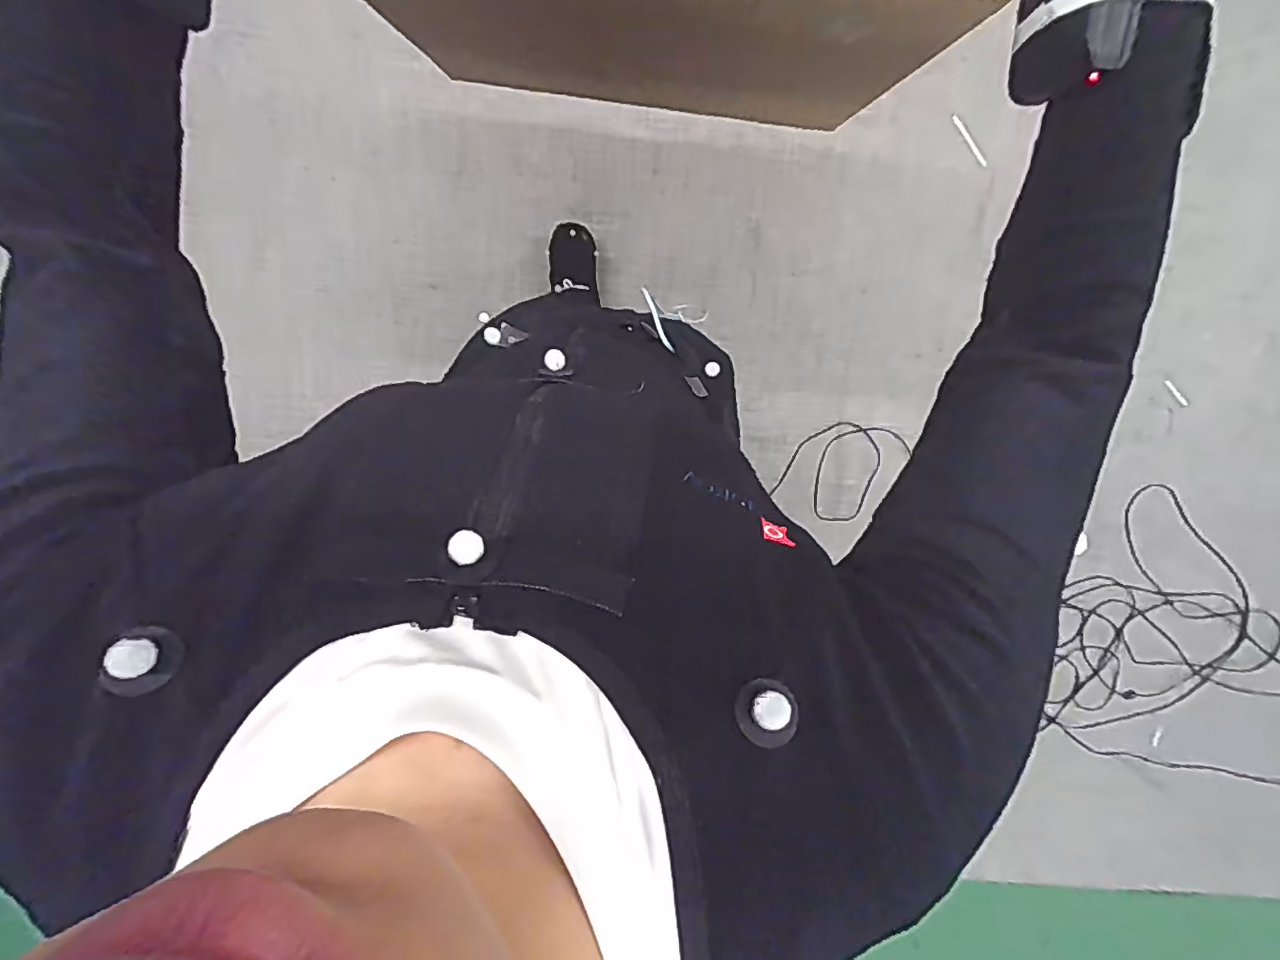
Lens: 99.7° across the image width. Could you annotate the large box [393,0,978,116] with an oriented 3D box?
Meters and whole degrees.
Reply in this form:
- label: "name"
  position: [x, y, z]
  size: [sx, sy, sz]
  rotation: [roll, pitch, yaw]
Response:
- label: "large box"
  position: [0.023, -0.482, 0.365]
  size: [0.408, 0.320, 0.320]
  rotation: [6, 113, -2]
